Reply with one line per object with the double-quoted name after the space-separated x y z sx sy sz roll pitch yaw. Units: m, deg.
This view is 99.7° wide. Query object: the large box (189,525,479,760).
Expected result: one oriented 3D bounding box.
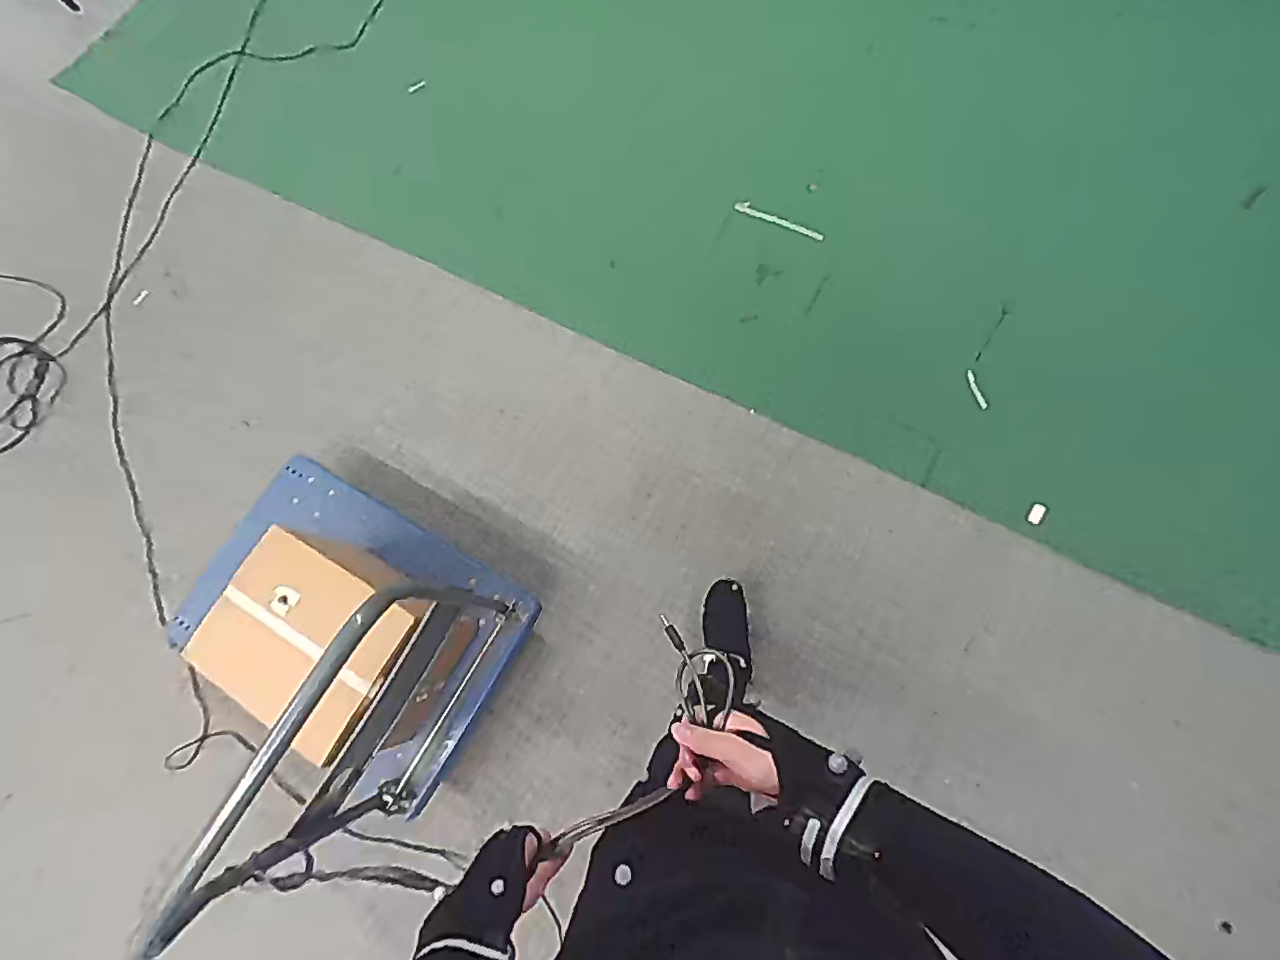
-0.652 0.349 1.213 0.408 0.320 0.320 27 78 15 "large box"
